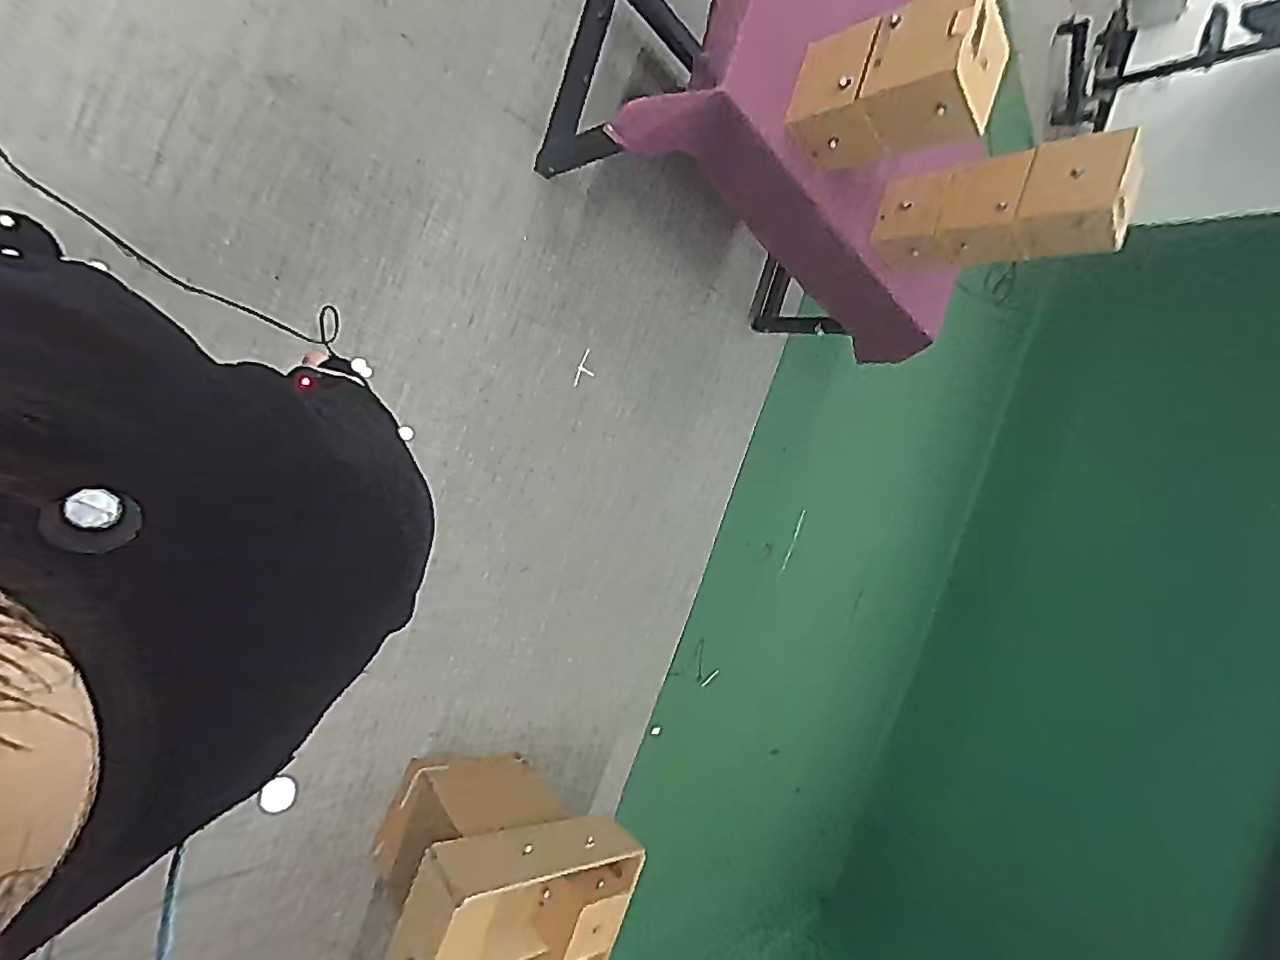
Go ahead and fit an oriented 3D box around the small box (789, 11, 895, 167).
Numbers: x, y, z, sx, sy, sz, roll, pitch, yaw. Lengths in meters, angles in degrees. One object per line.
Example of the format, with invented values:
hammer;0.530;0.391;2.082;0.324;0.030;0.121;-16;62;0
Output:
small box;0.428;-0.775;1.100;0.168;0.176;0.179;17;90;-44

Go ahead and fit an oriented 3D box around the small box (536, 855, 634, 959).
small box;-0.154;1.182;1.500;0.179;0.176;0.168;25;84;-44

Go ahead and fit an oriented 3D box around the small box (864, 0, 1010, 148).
small box;0.534;-0.740;0.979;0.179;0.176;0.168;16;92;-44

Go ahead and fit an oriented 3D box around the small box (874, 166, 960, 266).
small box;0.738;-0.673;1.406;0.179;0.176;0.168;15;92;-42

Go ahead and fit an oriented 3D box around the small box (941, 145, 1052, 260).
small box;0.844;-0.646;1.285;0.168;0.176;0.179;17;91;-43
